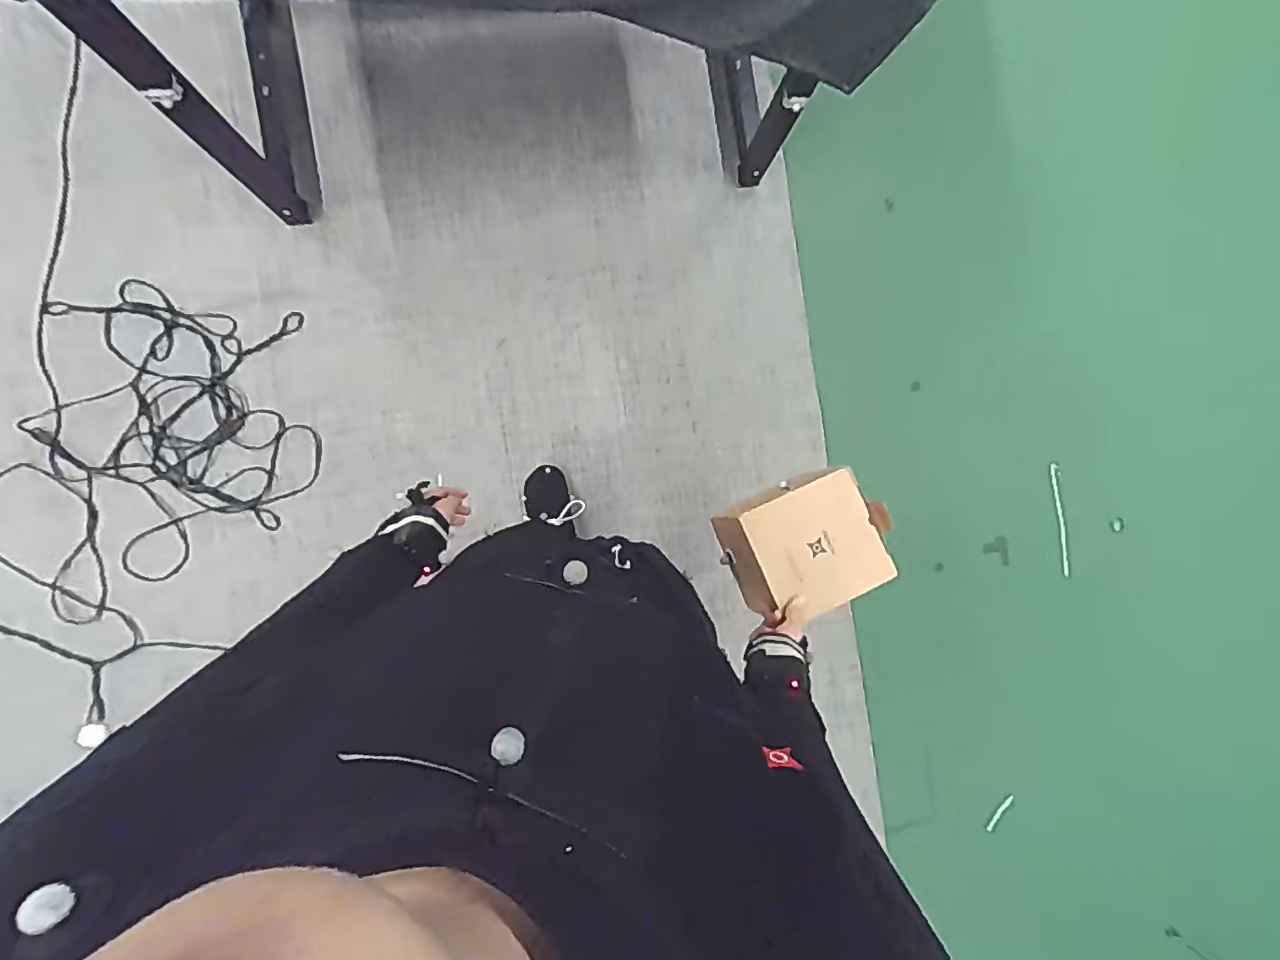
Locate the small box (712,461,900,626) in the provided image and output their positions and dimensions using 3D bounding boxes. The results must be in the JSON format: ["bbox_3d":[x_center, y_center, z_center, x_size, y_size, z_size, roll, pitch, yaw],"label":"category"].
[{"bbox_3d":[0.228,0.085,0.786,0.179,0.176,0.168,-25,89,-7],"label":"small box"}]
